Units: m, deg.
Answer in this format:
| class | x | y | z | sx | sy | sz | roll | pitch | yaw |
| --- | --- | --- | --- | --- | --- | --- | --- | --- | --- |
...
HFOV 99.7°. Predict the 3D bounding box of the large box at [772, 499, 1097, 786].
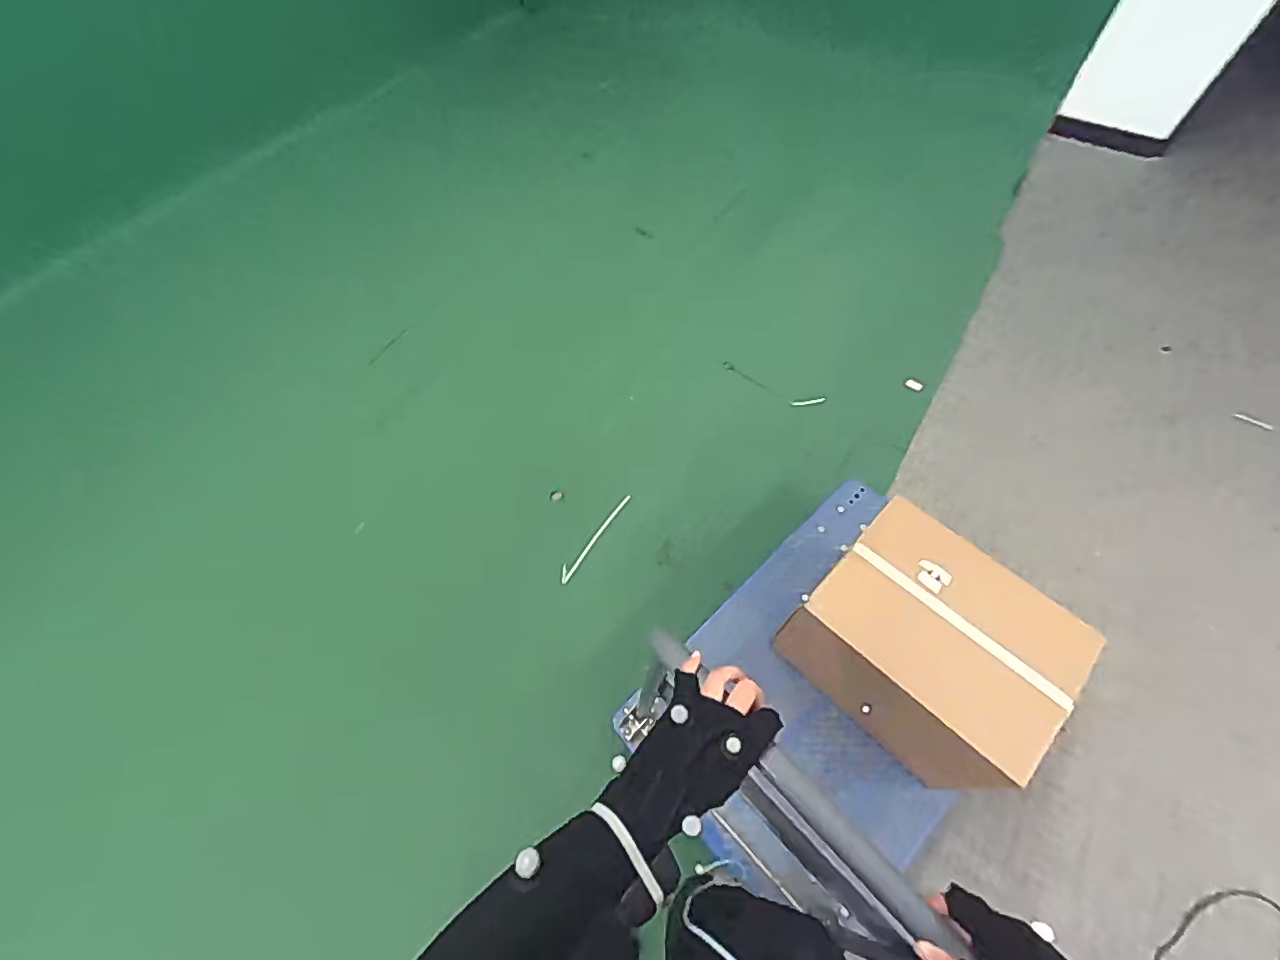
| class | x | y | z | sx | sy | sz | roll | pitch | yaw |
| --- | --- | --- | --- | --- | --- | --- | --- | --- | --- |
| large box | 0.529 | 0.320 | 1.057 | 0.408 | 0.320 | 0.320 | 40 | 68 | 23 |
